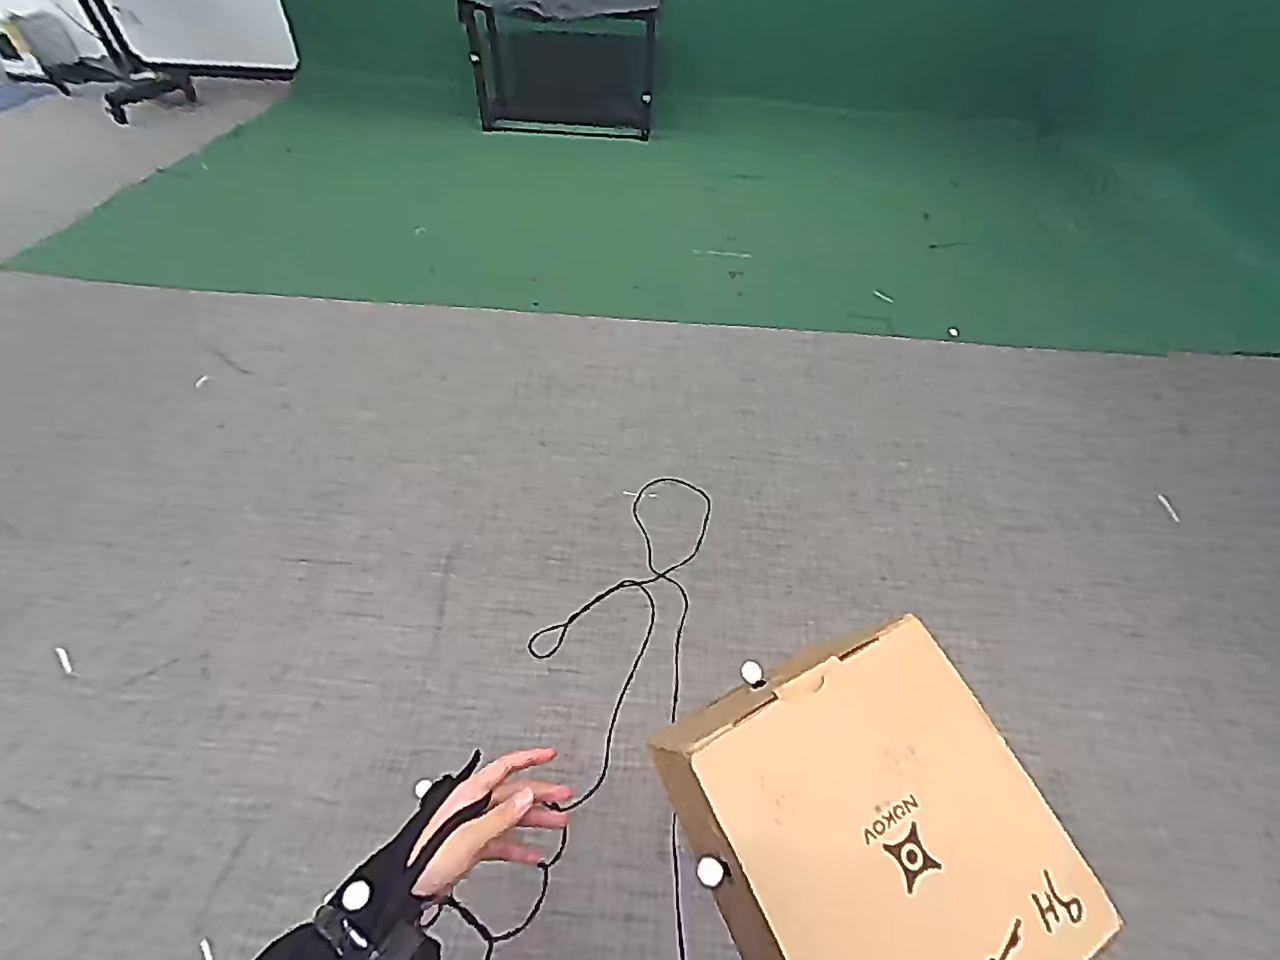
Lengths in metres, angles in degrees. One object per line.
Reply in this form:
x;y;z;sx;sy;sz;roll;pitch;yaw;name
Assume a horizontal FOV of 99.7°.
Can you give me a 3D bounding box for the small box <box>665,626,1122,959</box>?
0.131;0.224;0.357;0.168;0.176;0.179;-23;70;-16;small box
